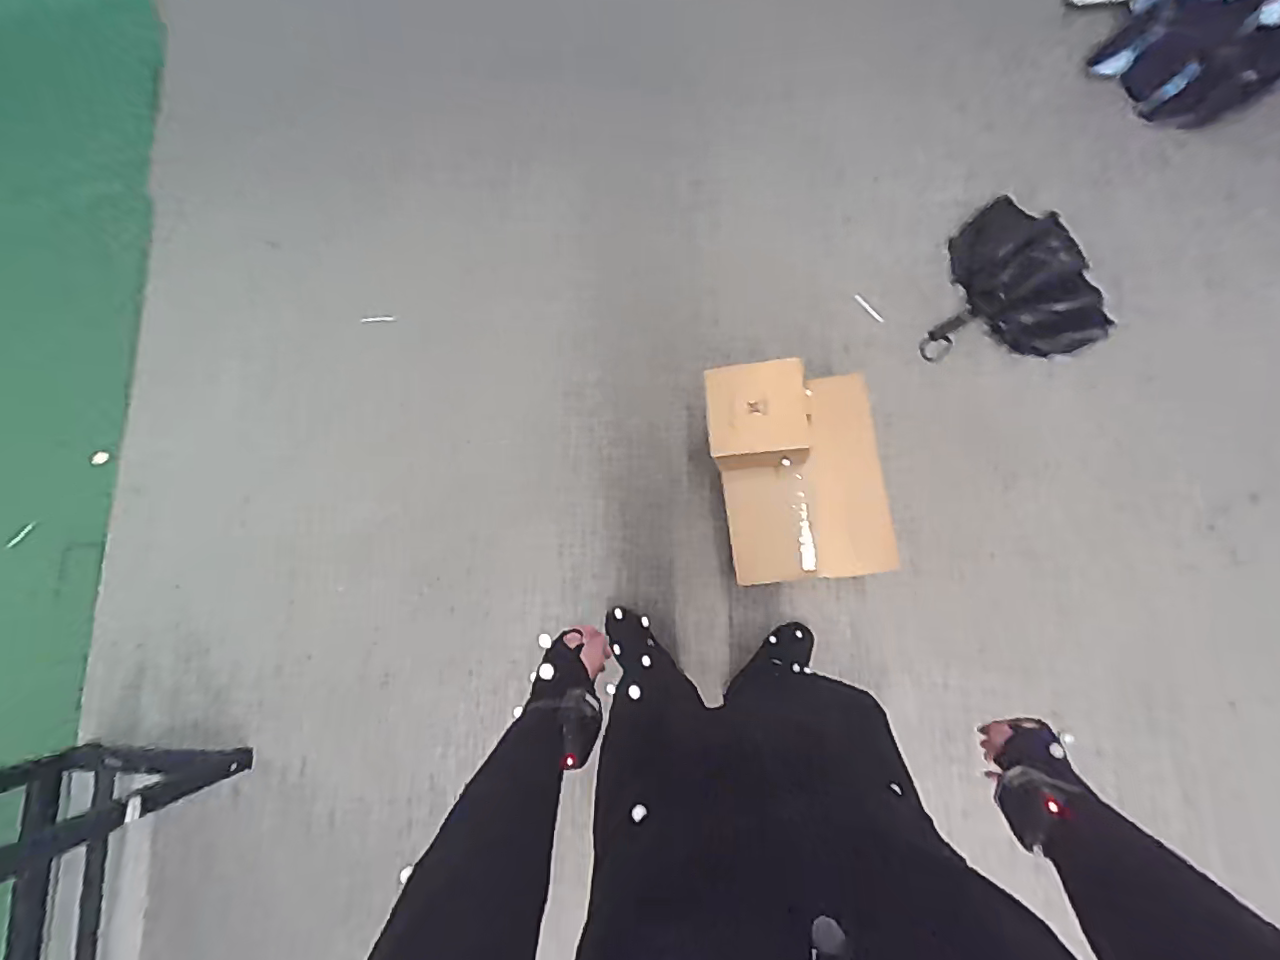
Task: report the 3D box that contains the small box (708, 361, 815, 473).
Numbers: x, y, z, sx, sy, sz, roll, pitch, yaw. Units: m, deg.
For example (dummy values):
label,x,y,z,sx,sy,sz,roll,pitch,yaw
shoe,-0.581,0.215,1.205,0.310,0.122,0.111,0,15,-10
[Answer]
label,x,y,z,sx,sy,sz,roll,pitch,yaw
small box,0.231,-0.112,1.033,0.179,0.176,0.168,-6,80,14
